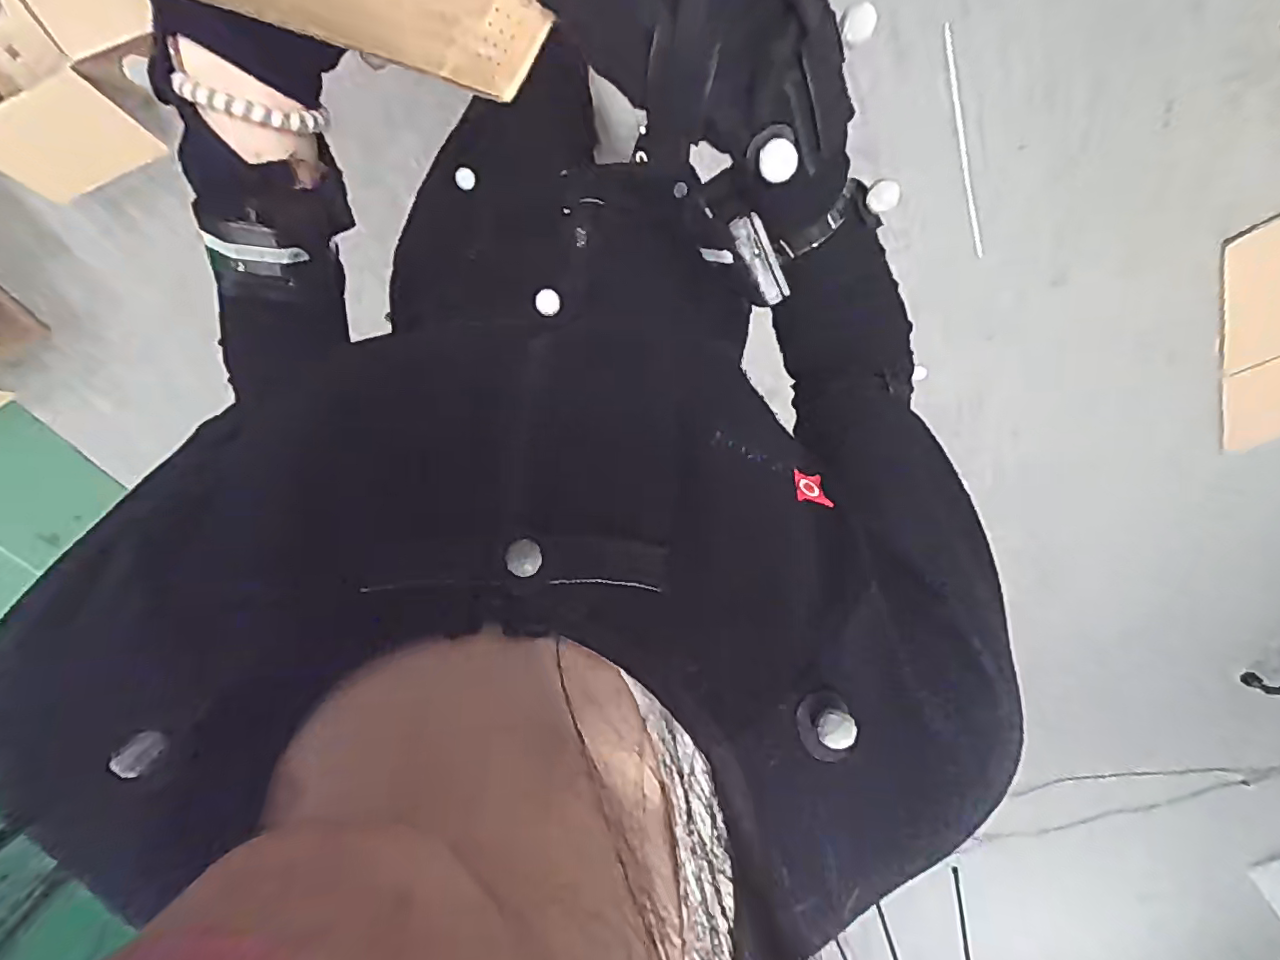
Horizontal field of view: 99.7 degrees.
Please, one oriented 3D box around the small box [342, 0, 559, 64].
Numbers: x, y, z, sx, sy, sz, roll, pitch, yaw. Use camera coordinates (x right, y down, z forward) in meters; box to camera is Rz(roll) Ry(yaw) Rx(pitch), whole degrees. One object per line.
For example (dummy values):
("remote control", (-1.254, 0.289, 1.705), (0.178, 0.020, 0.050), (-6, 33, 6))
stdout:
("small box", (-0.104, -0.278, 0.162), (0.179, 0.176, 0.168), (50, 125, 1))
